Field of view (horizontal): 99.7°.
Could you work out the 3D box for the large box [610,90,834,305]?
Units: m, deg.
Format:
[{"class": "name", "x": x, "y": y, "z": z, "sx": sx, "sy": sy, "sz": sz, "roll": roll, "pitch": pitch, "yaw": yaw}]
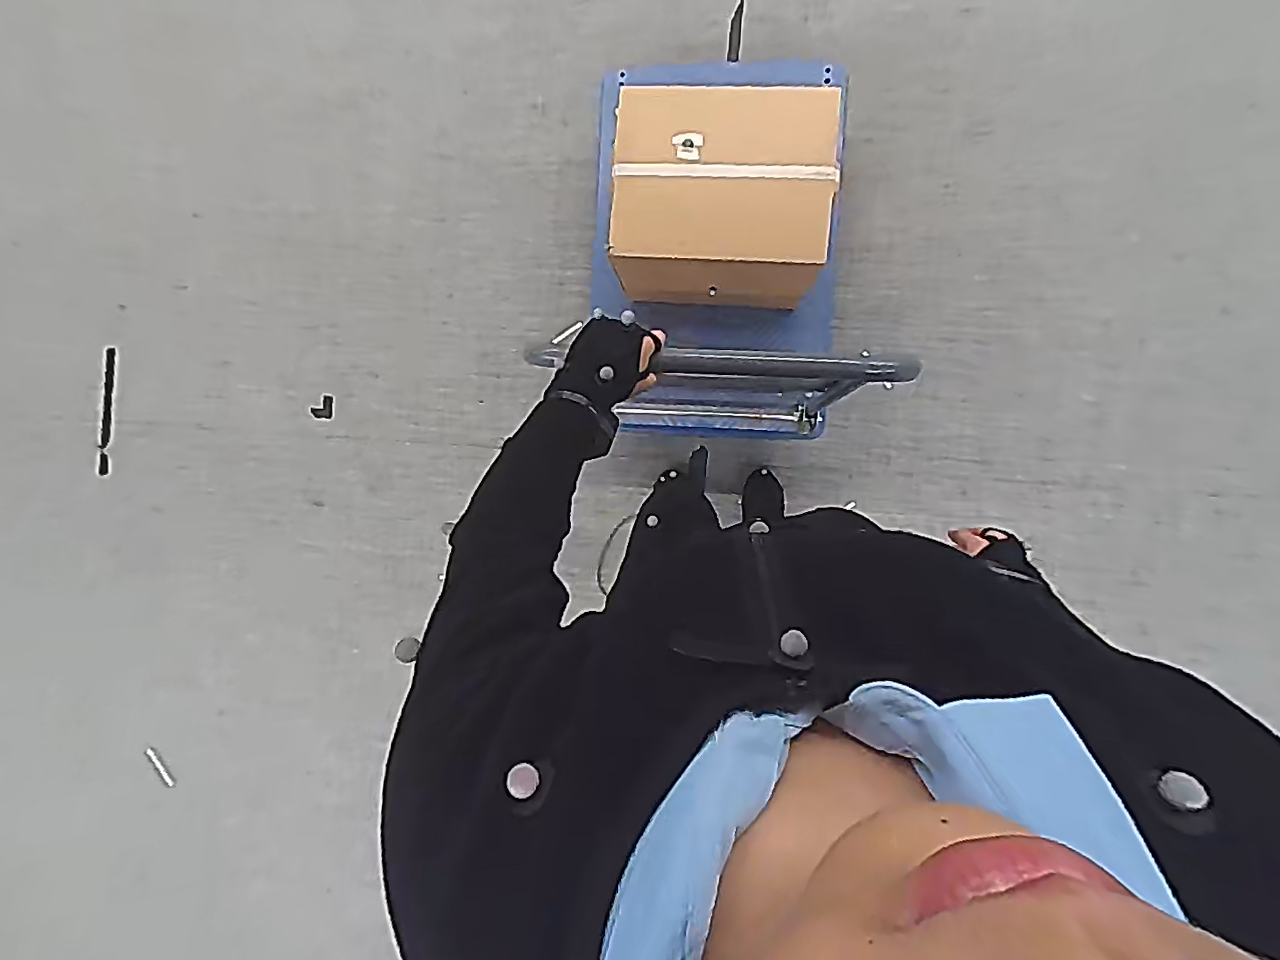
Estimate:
[{"class": "large box", "x": 0.169, "y": -0.570, "z": 1.154, "sx": 0.408, "sy": 0.320, "sz": 0.320, "roll": 5, "pitch": 92, "yaw": 7}]
